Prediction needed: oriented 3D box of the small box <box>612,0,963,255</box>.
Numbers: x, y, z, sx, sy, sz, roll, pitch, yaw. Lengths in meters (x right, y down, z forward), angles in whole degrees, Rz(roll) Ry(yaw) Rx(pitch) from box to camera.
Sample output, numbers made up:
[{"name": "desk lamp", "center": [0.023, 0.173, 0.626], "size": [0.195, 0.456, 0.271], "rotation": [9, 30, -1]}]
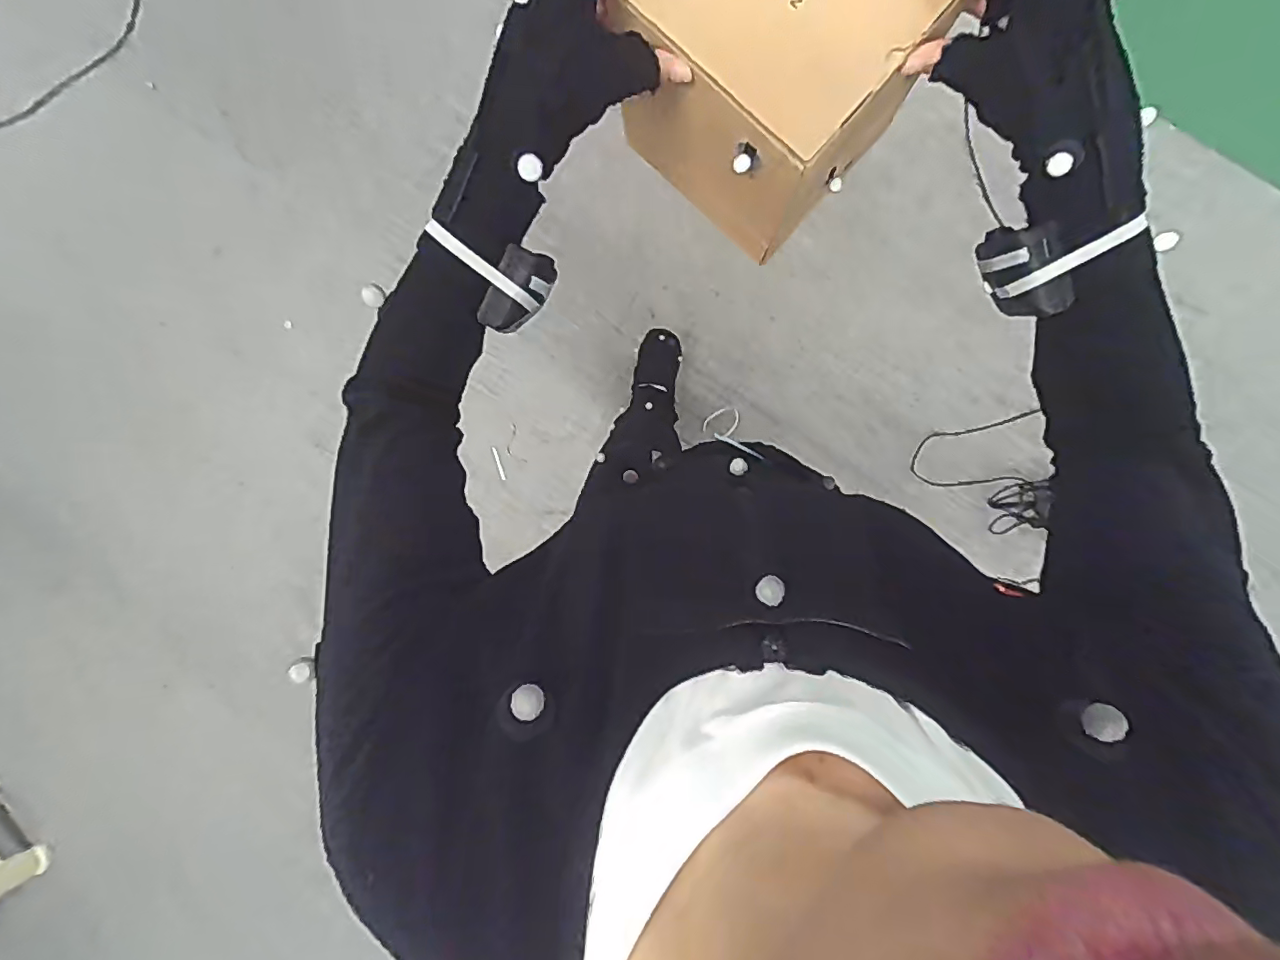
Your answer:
[{"name": "small box", "center": [0.097, -0.315, 0.423], "size": [0.179, 0.176, 0.168], "rotation": [43, 92, 1]}]
